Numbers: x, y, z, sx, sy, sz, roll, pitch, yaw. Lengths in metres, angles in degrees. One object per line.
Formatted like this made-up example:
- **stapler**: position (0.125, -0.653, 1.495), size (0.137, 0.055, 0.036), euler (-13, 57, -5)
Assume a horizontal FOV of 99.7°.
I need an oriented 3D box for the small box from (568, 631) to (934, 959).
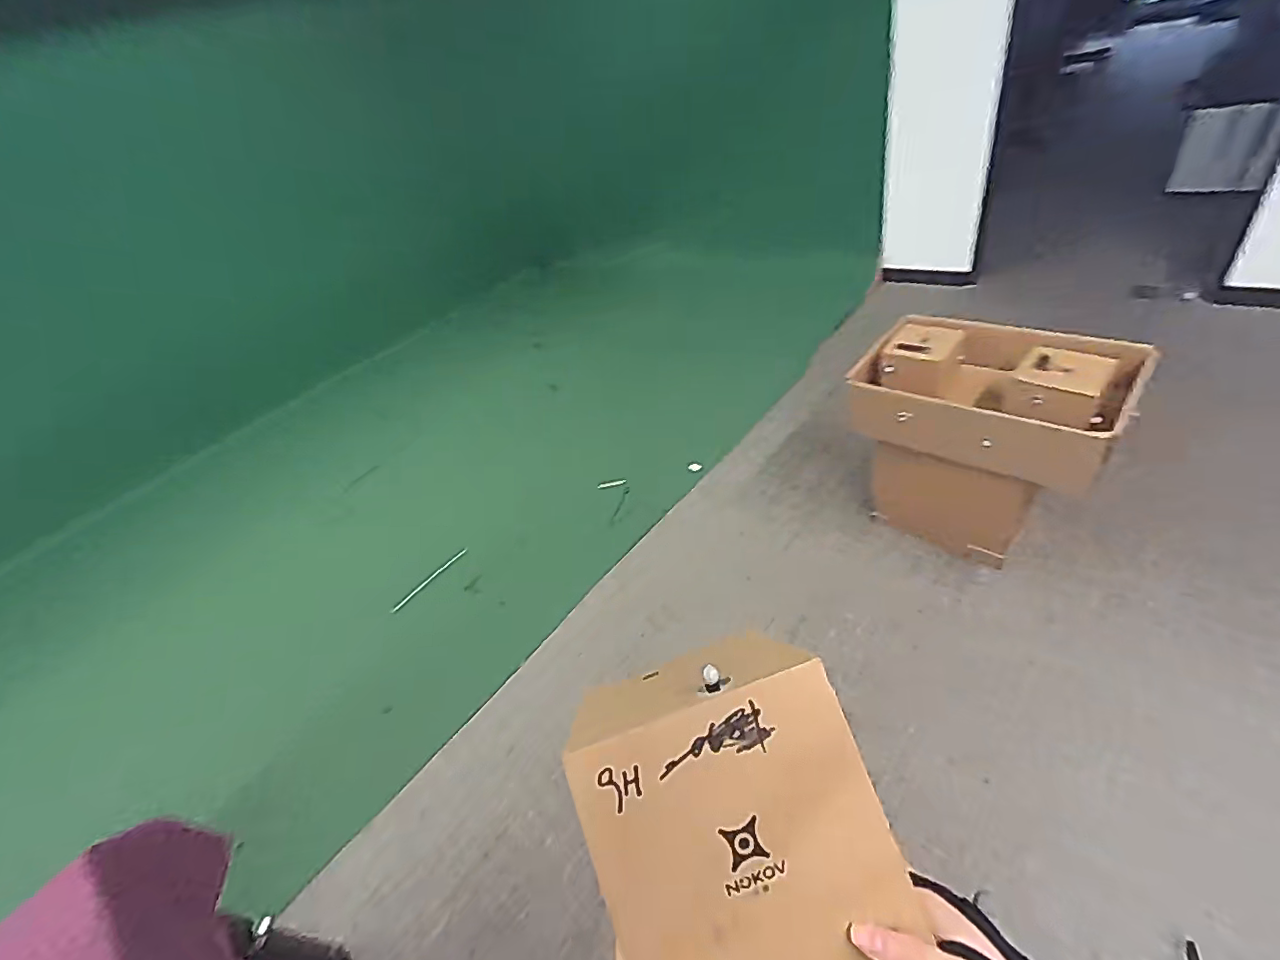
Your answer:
- **small box**: position (0.061, 0.224, 0.387), size (0.168, 0.176, 0.179), euler (-19, 80, -4)
